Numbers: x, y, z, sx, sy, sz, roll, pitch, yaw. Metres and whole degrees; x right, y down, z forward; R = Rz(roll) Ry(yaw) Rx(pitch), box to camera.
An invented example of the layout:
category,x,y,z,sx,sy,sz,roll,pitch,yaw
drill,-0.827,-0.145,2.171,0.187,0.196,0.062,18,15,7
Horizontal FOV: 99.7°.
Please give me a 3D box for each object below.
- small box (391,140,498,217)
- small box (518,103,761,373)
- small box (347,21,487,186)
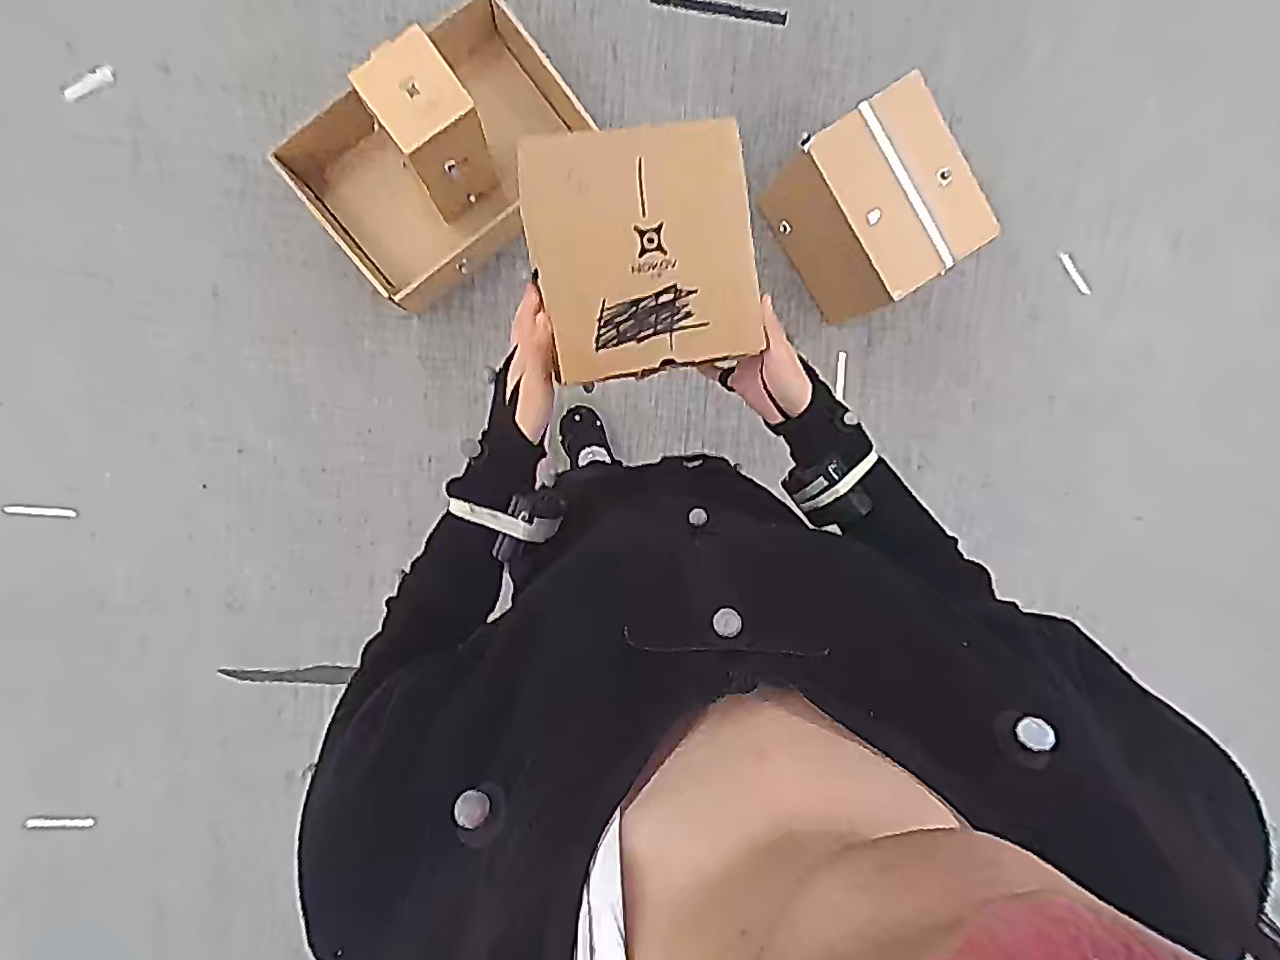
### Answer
category,x,y,z,sx,sy,sz,roll,pitch,yaw
small box,-0.450,-0.748,1.239,0.168,0.176,0.179,-36,98,-2
small box,-0.008,-0.195,0.481,0.168,0.176,0.179,-12,103,-10
small box,-0.431,-0.735,1.078,0.168,0.176,0.179,-38,99,-2
